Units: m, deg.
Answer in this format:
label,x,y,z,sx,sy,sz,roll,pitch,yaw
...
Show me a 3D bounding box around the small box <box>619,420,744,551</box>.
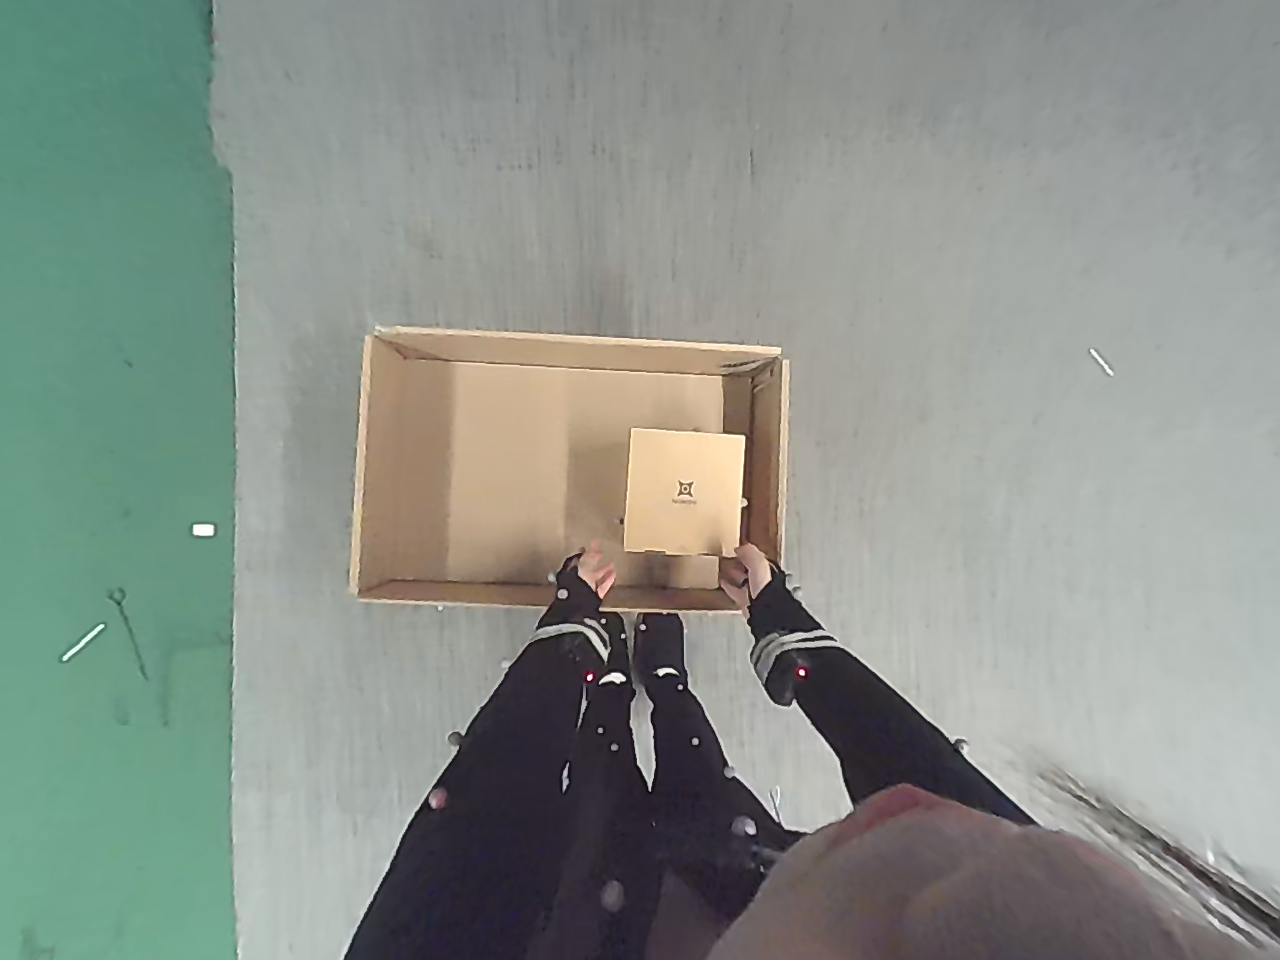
label,x,y,z,sx,sy,sz,roll,pitch,yaw
small box,0.056,0.011,0.837,0.168,0.176,0.179,4,89,-3
